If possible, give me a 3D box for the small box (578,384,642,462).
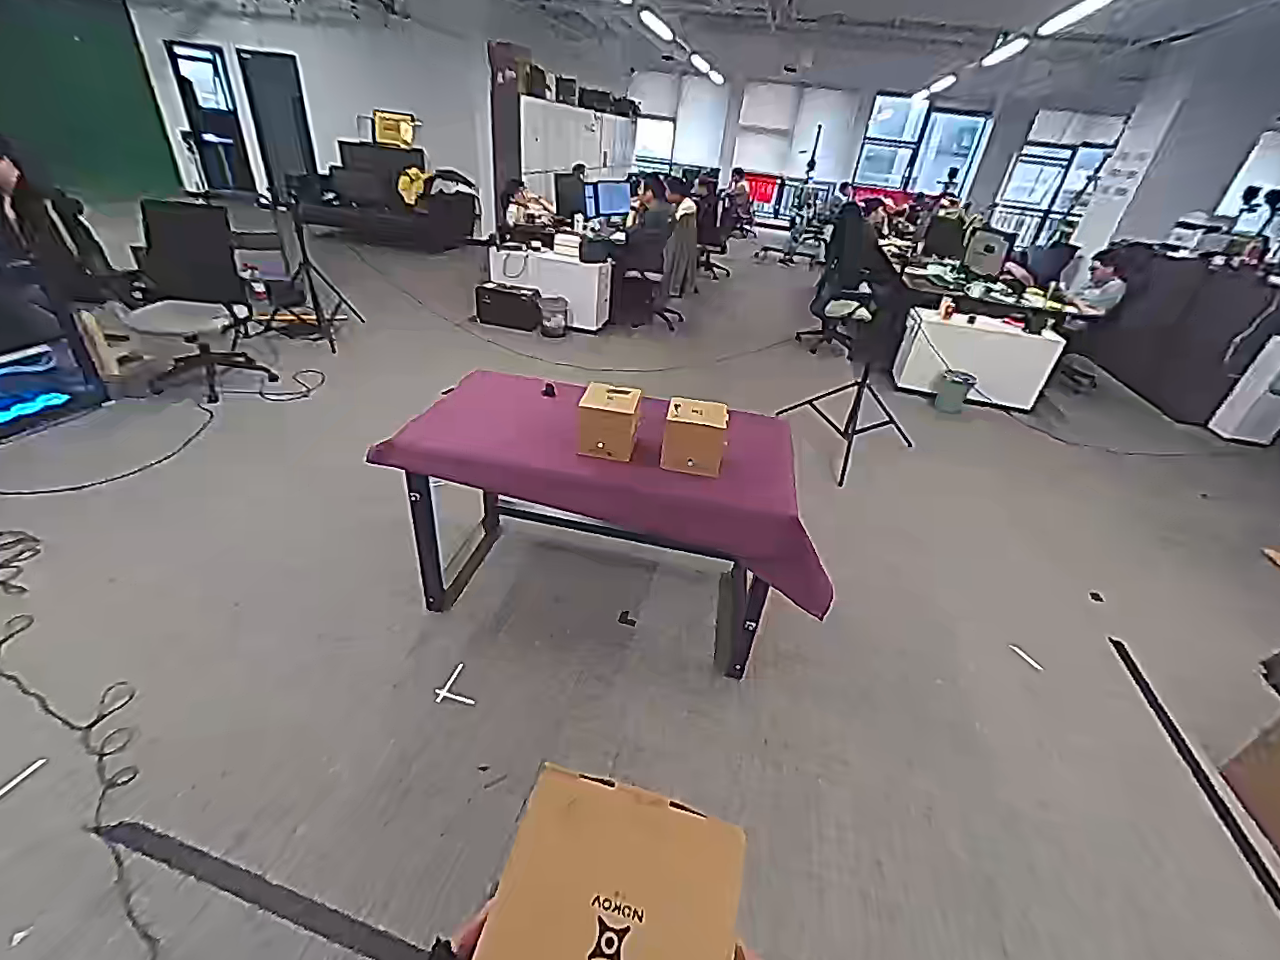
[{"bbox_3d":[-0.094,-0.176,1.672,0.168,0.176,0.179,9,33,4],"label":"small box"}]

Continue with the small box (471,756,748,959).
[{"bbox_3d":[-0.026,0.349,0.412,0.168,0.176,0.179,14,46,7],"label":"small box"}]

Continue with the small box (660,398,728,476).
[{"bbox_3d":[0.164,-0.129,1.644,0.179,0.176,0.168,10,32,5],"label":"small box"}]
